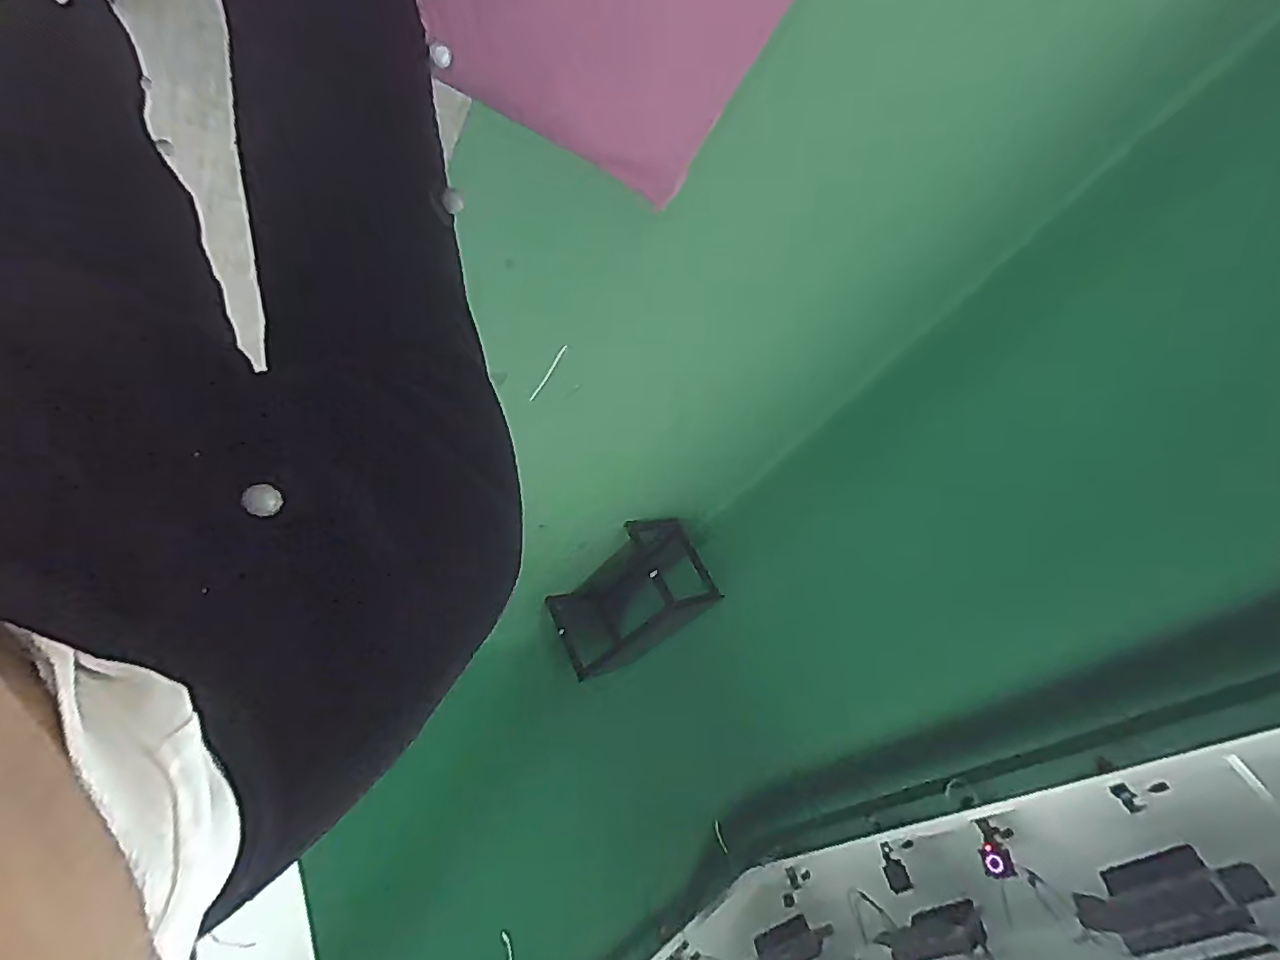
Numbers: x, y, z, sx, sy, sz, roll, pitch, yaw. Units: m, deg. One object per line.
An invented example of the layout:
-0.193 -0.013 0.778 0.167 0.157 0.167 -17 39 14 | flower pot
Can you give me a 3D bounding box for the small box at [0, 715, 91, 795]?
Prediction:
-1.740 0.814 1.586 0.168 0.176 0.179 -4 145 -42 | small box
